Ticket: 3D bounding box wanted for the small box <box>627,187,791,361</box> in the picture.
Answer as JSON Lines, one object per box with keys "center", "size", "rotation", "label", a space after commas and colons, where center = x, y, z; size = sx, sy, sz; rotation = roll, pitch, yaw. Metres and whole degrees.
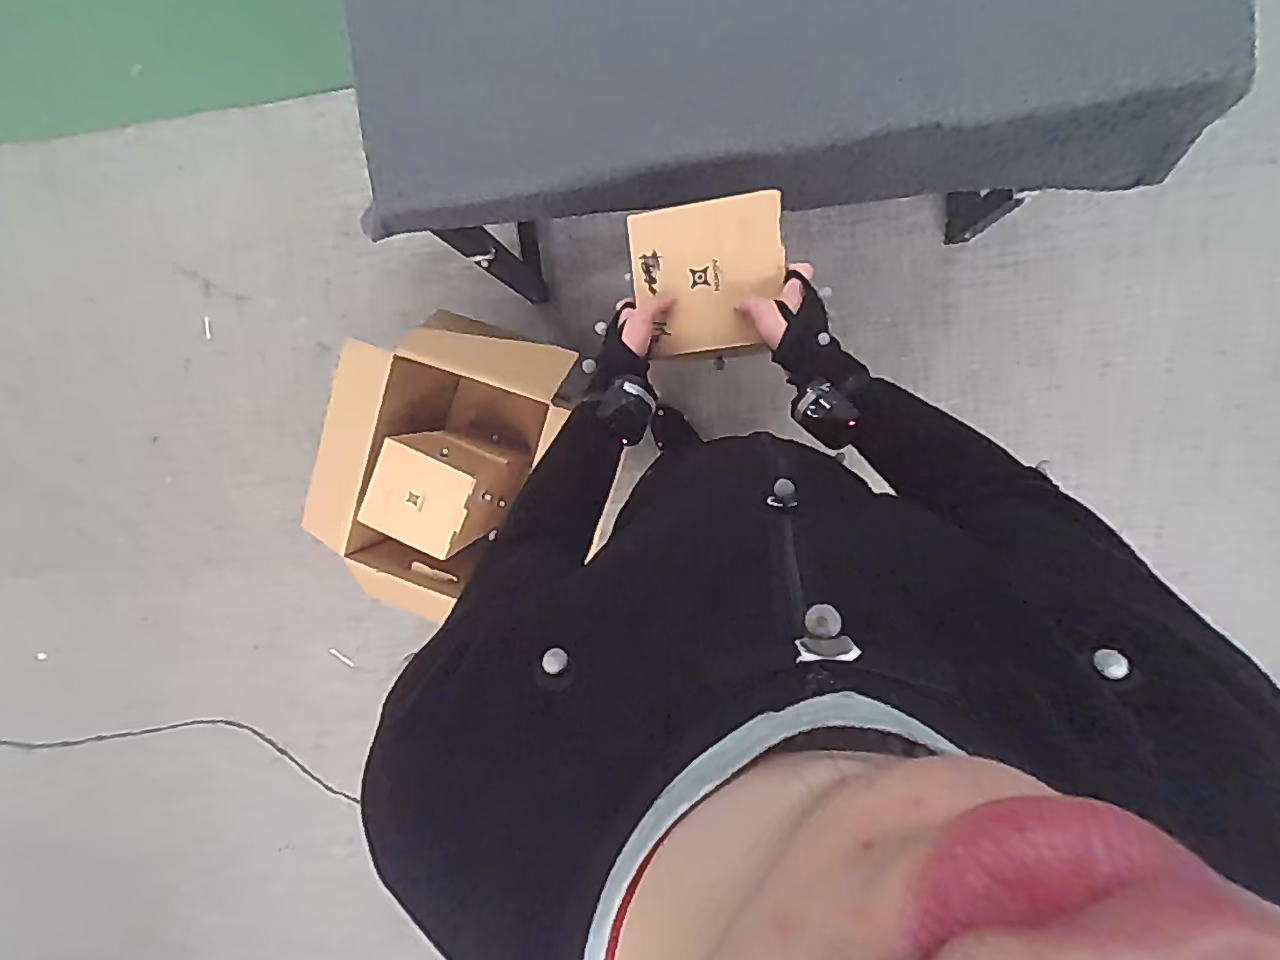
{"center": [0.090, -0.247, 0.691], "size": [0.179, 0.176, 0.168], "rotation": [-5, 98, 11], "label": "small box"}
